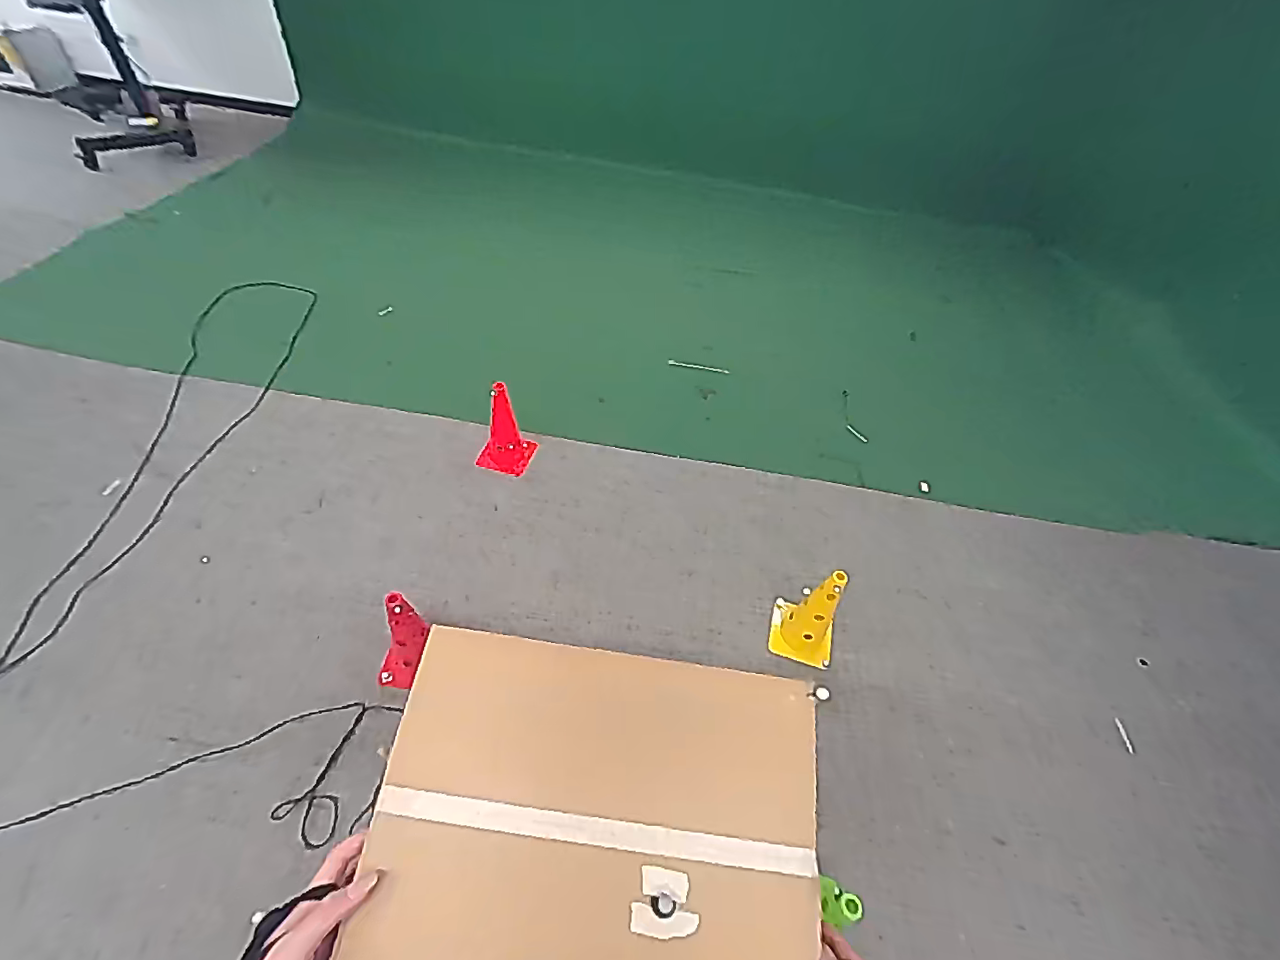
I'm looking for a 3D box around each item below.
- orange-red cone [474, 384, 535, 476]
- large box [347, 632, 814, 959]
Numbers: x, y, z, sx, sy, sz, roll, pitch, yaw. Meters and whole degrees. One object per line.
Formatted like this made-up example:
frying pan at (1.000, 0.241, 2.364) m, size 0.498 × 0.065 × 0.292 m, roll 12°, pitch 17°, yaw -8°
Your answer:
orange-red cone at (-0.530, -0.213, 2.057) m, size 0.199 × 0.360 × 0.198 m, roll 14°, pitch 47°, yaw 7°
large box at (-0.046, 0.387, 0.637) m, size 0.408 × 0.320 × 0.320 m, roll 8°, pitch 64°, yaw 0°
